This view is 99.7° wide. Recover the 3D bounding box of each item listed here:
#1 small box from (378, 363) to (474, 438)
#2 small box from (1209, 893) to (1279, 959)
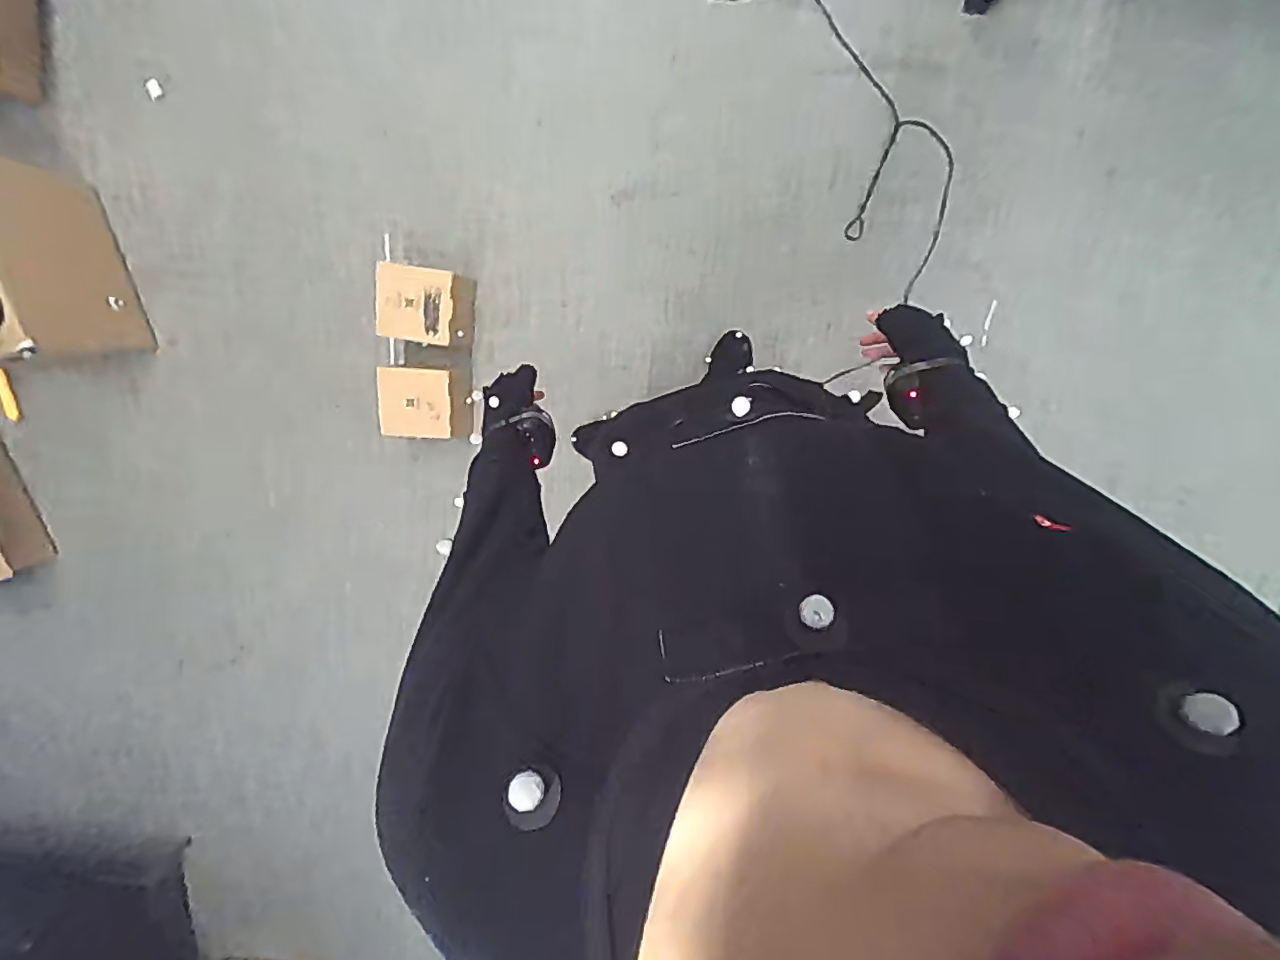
[{"bbox_3d":[-0.534,-0.205,1.367,0.179,0.176,0.168,4,106,1],"label":"small box"},{"bbox_3d":[1.194,0.890,0.965,0.168,0.176,0.179,2,104,2],"label":"small box"}]
